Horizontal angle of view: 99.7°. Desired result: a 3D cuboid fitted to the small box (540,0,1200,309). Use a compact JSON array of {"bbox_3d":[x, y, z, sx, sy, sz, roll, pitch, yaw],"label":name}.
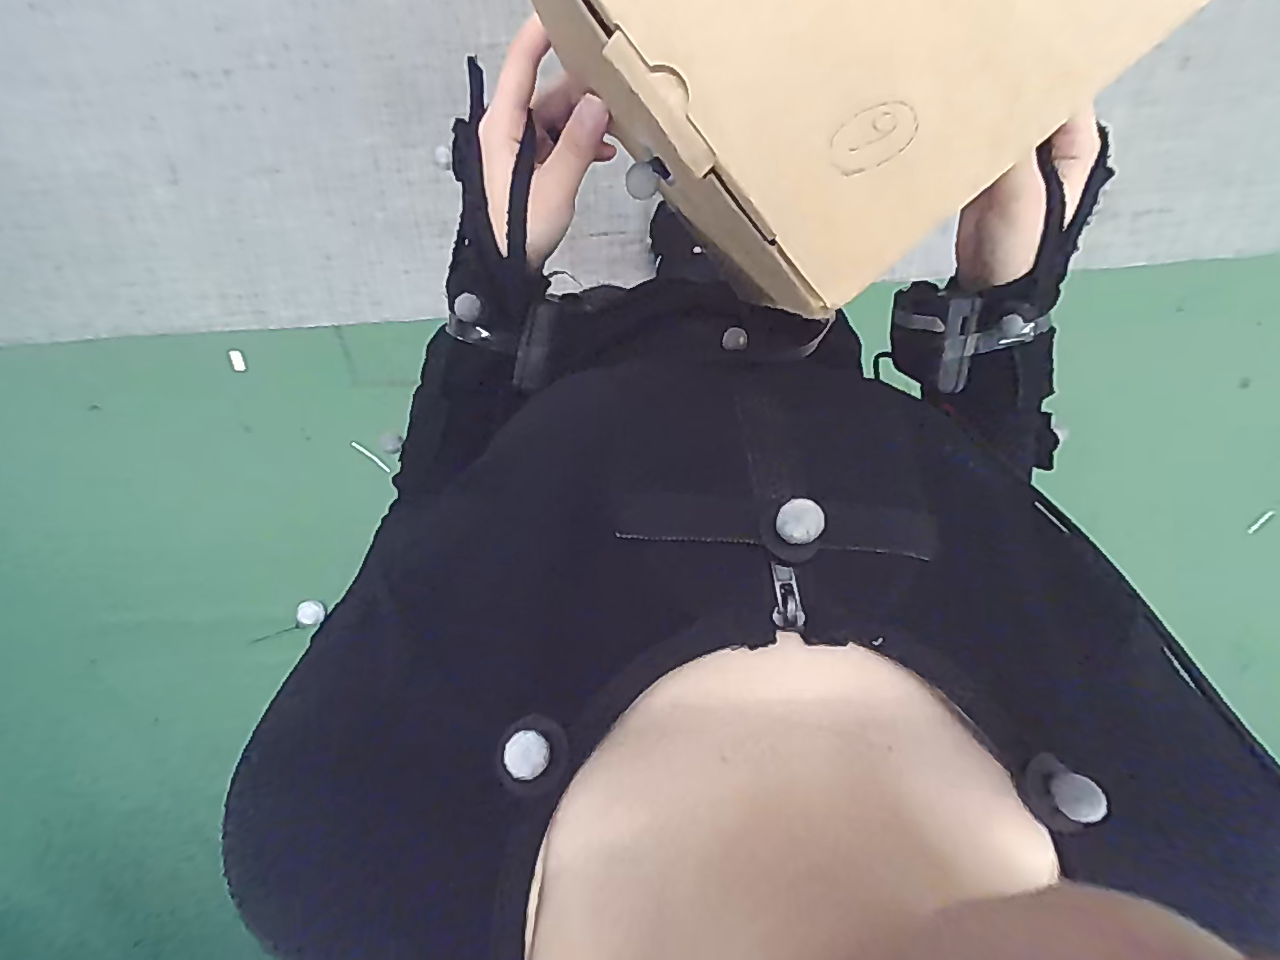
[{"bbox_3d":[0.072,-0.191,0.214,0.179,0.176,0.168,-39,104,15],"label":"small box"}]
